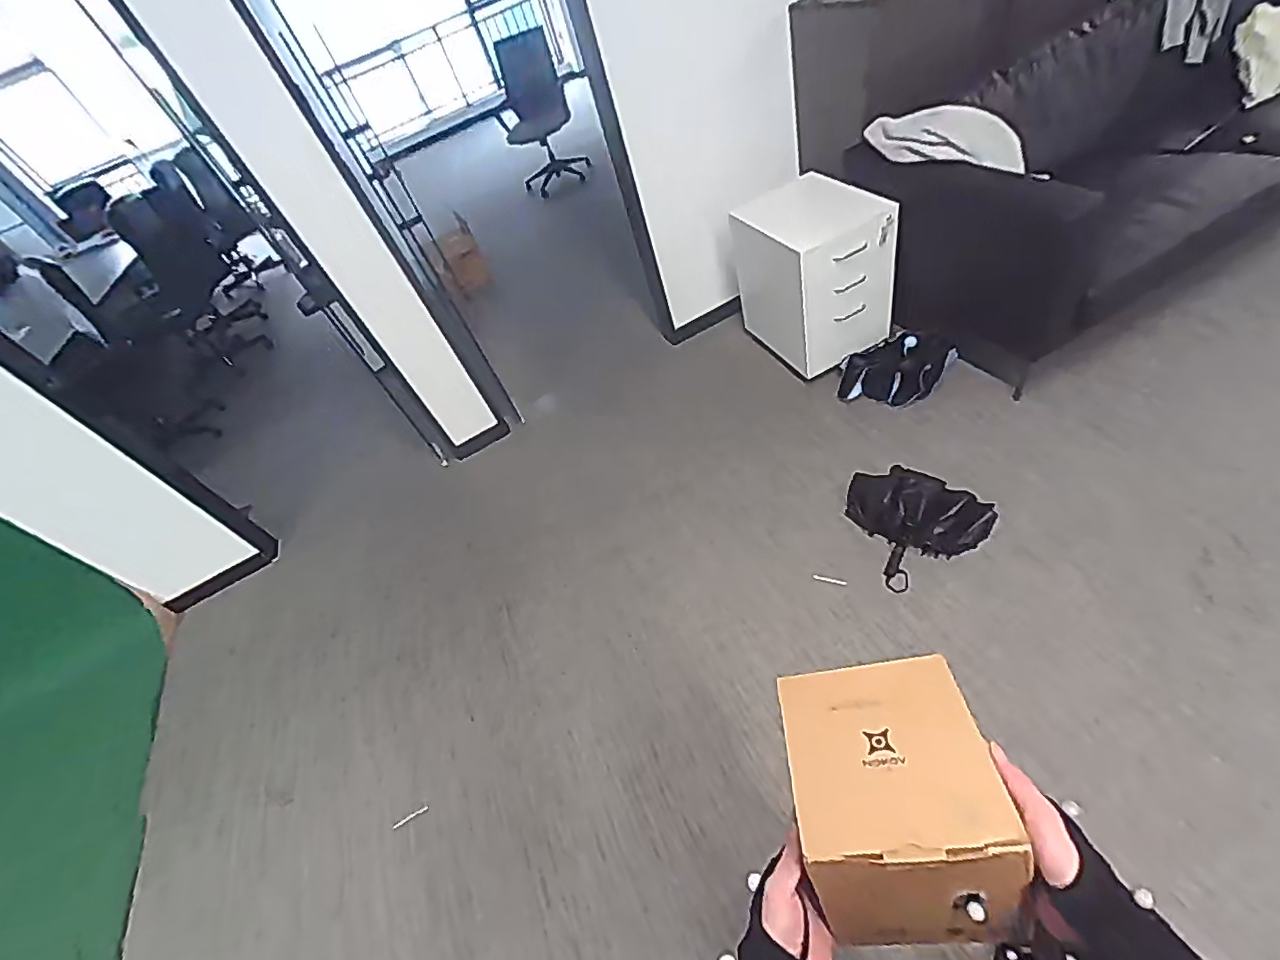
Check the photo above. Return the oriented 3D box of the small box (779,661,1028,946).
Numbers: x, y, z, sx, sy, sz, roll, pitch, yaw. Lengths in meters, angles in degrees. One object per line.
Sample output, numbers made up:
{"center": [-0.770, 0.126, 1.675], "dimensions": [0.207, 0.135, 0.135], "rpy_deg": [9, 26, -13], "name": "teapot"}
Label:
{"center": [0.239, 0.307, 0.515], "dimensions": [0.168, 0.176, 0.179], "rpy_deg": [-13, 27, 13], "name": "small box"}
